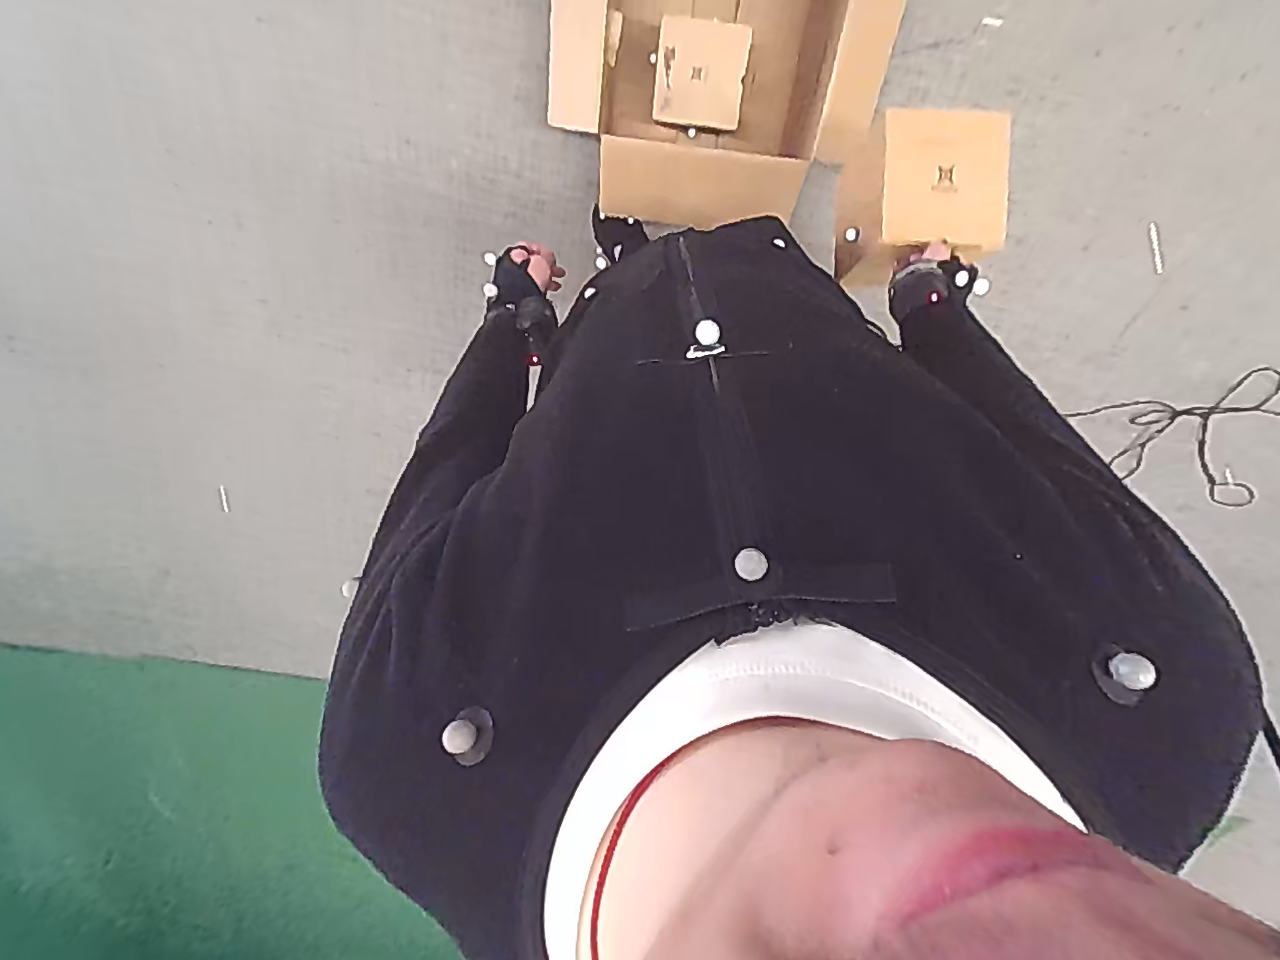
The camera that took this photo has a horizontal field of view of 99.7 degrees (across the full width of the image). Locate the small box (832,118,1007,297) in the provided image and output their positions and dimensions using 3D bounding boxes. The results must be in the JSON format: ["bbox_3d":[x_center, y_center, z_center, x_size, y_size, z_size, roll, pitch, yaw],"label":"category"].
[{"bbox_3d":[0.392,-0.380,0.785,0.168,0.176,0.179,3,89,-3],"label":"small box"}]
